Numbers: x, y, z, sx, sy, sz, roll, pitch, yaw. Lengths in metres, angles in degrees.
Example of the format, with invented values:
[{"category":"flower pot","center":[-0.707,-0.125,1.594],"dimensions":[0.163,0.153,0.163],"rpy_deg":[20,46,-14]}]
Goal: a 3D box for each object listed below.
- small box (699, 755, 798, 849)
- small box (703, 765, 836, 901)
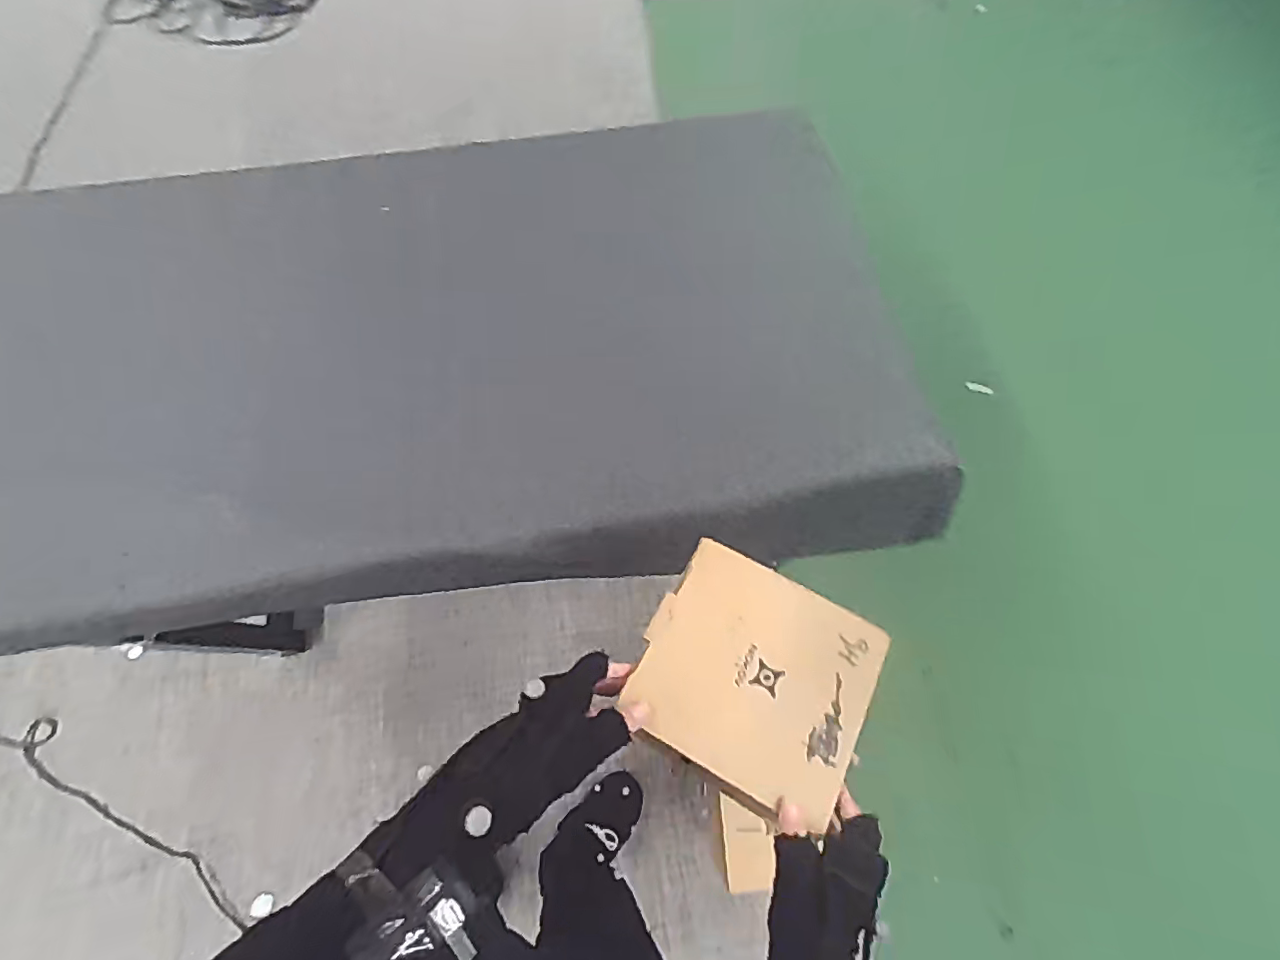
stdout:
[{"category":"small box","center":[0.219,0.655,1.087],"dimensions":[0.179,0.176,0.168],"rpy_deg":[-2,68,-1]},{"category":"small box","center":[0.212,0.596,0.933],"dimensions":[0.179,0.176,0.168],"rpy_deg":[-2,68,-2]}]
